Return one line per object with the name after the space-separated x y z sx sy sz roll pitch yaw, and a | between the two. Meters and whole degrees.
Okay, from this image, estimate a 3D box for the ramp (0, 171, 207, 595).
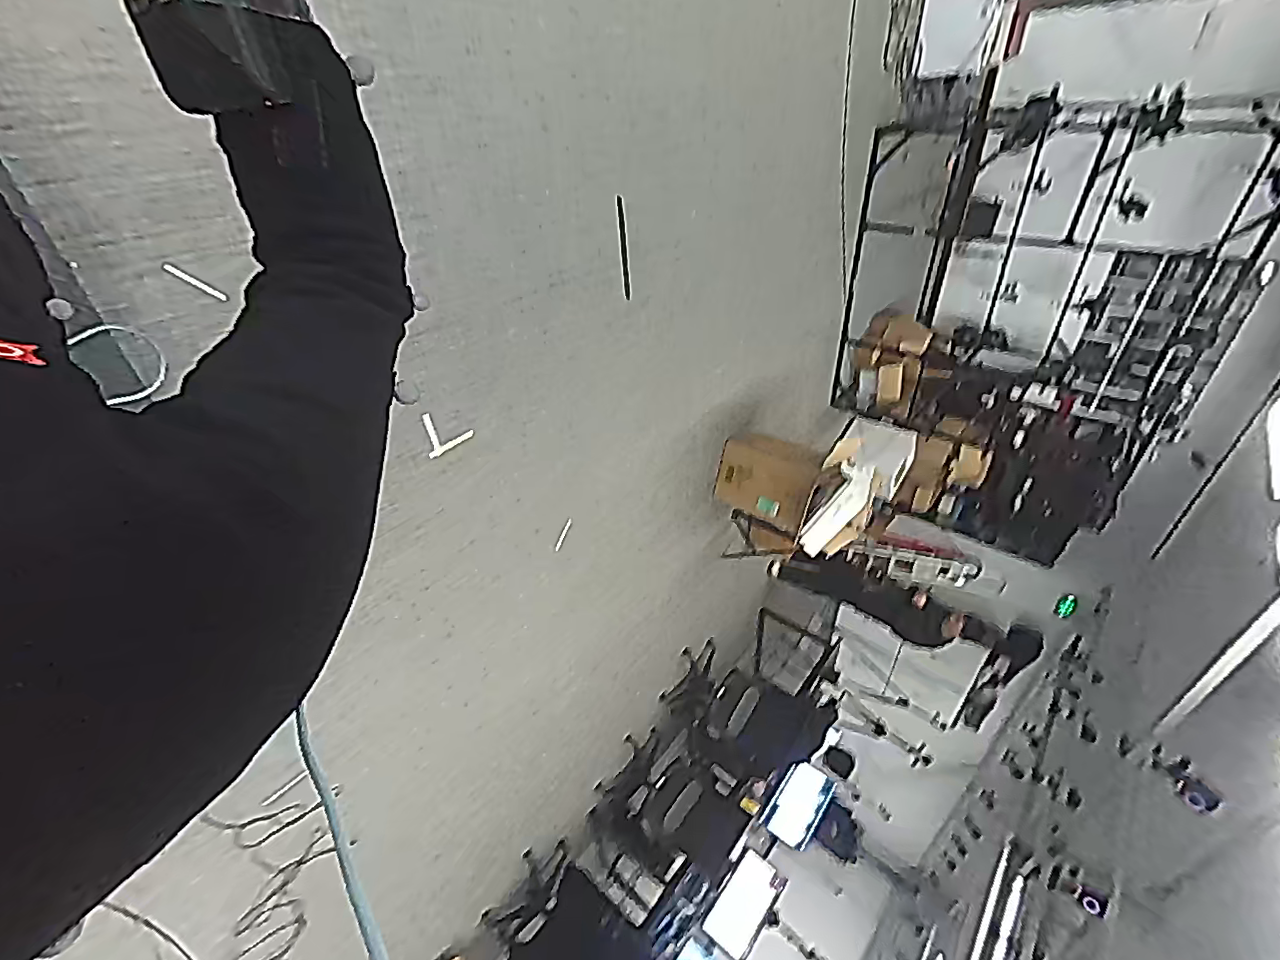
-1.189 -0.200 0.875 0.509 0.206 0.991 -39 139 -36 | ramp
